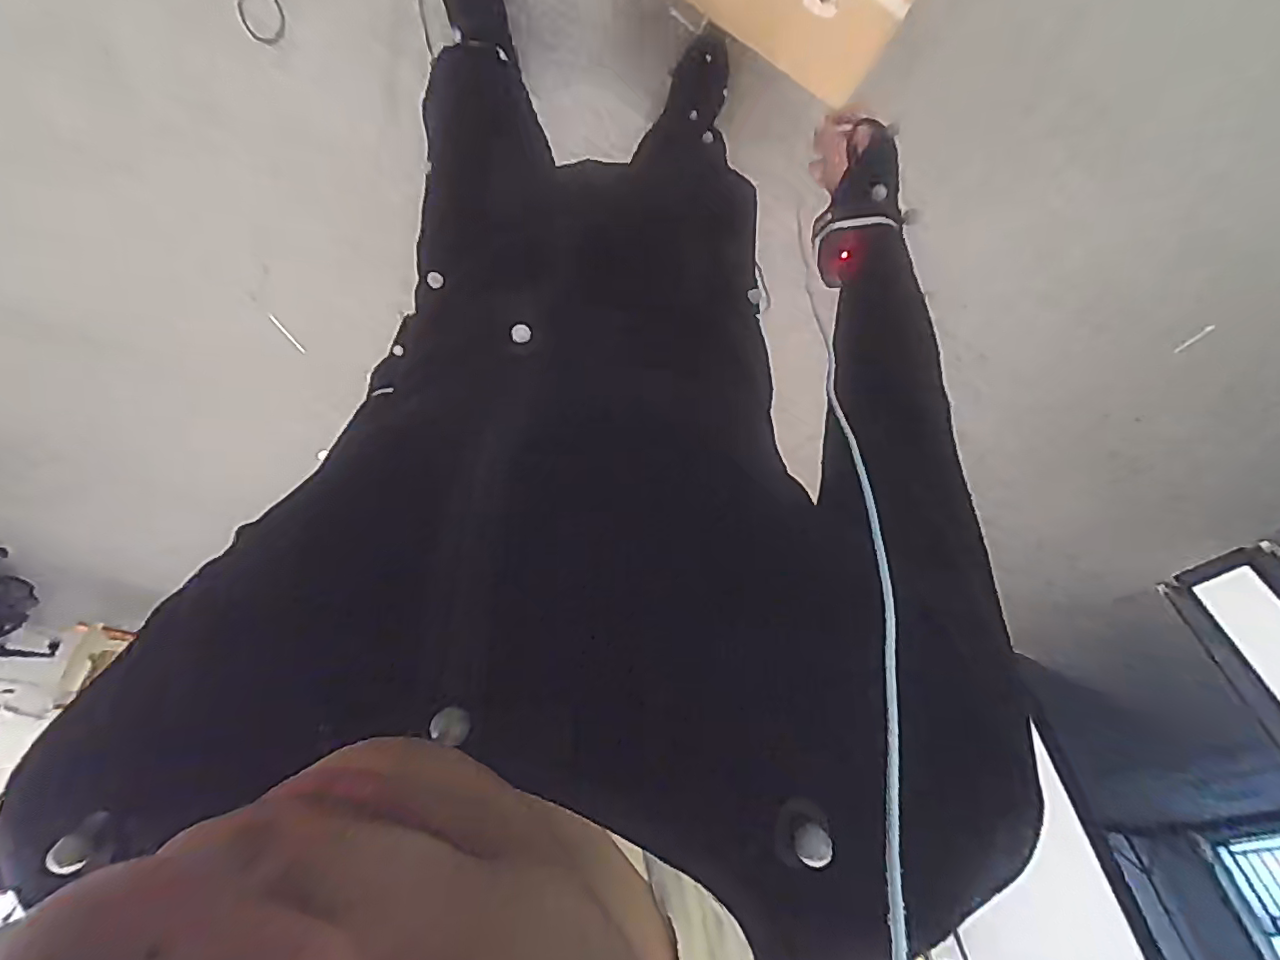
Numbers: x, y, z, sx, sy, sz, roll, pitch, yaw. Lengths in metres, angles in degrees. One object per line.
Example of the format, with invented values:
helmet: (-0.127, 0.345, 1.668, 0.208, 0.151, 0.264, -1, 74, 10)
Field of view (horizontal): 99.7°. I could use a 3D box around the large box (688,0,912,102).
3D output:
large box: (0.258, -0.940, 0.911, 0.408, 0.320, 0.320, 19, 135, -20)
